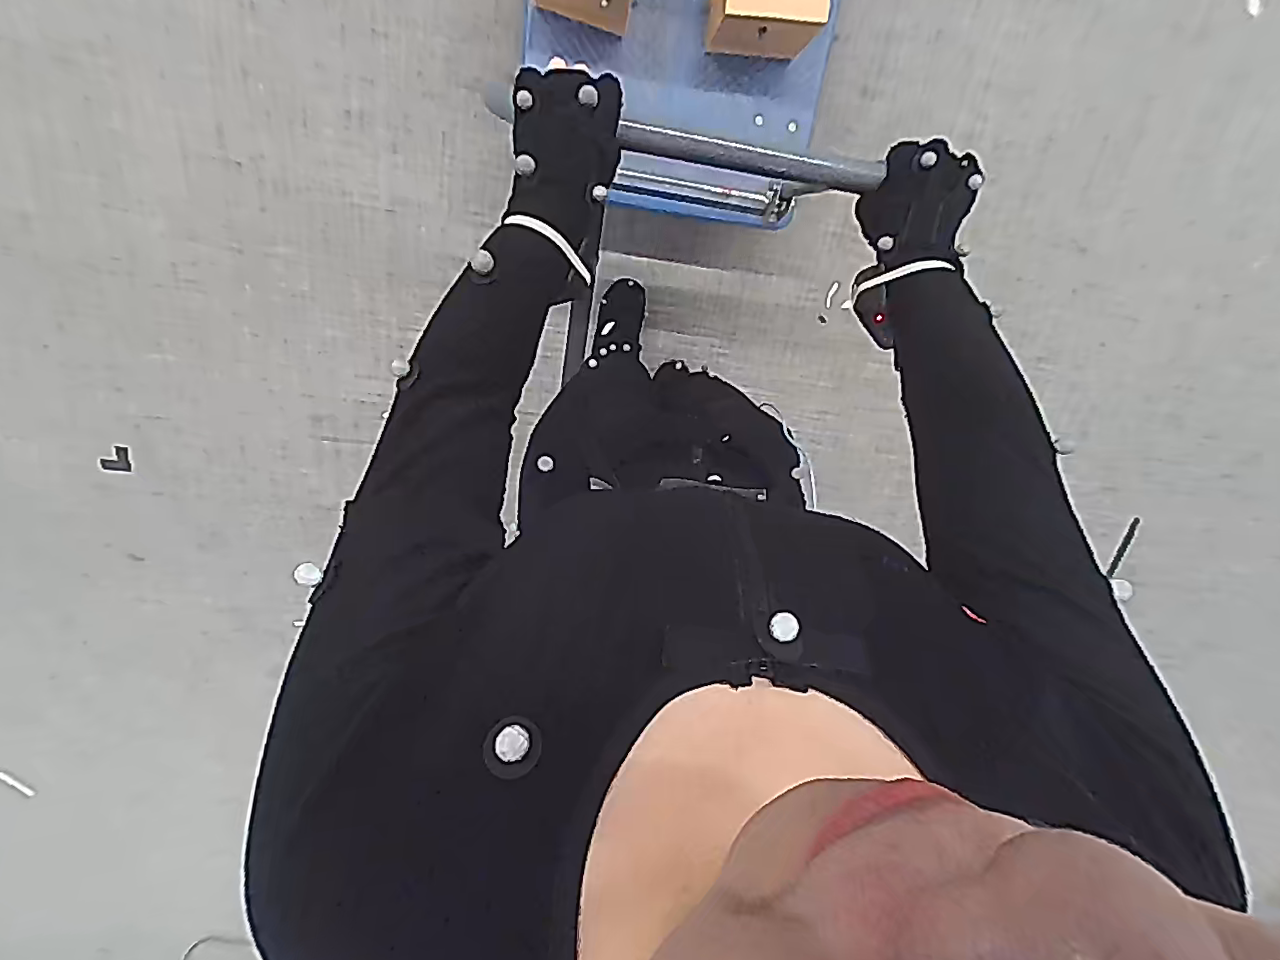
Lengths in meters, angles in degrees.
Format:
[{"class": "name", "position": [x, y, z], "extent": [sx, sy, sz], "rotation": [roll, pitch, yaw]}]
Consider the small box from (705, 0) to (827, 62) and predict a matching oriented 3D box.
[{"class": "small box", "position": [0.215, -0.853, 0.933], "extent": [0.179, 0.176, 0.168], "rotation": [1, 112, -6]}]

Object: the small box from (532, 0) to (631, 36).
[{"class": "small box", "position": [-0.088, -0.882, 0.893], "extent": [0.179, 0.176, 0.168], "rotation": [11, 110, -11]}]
